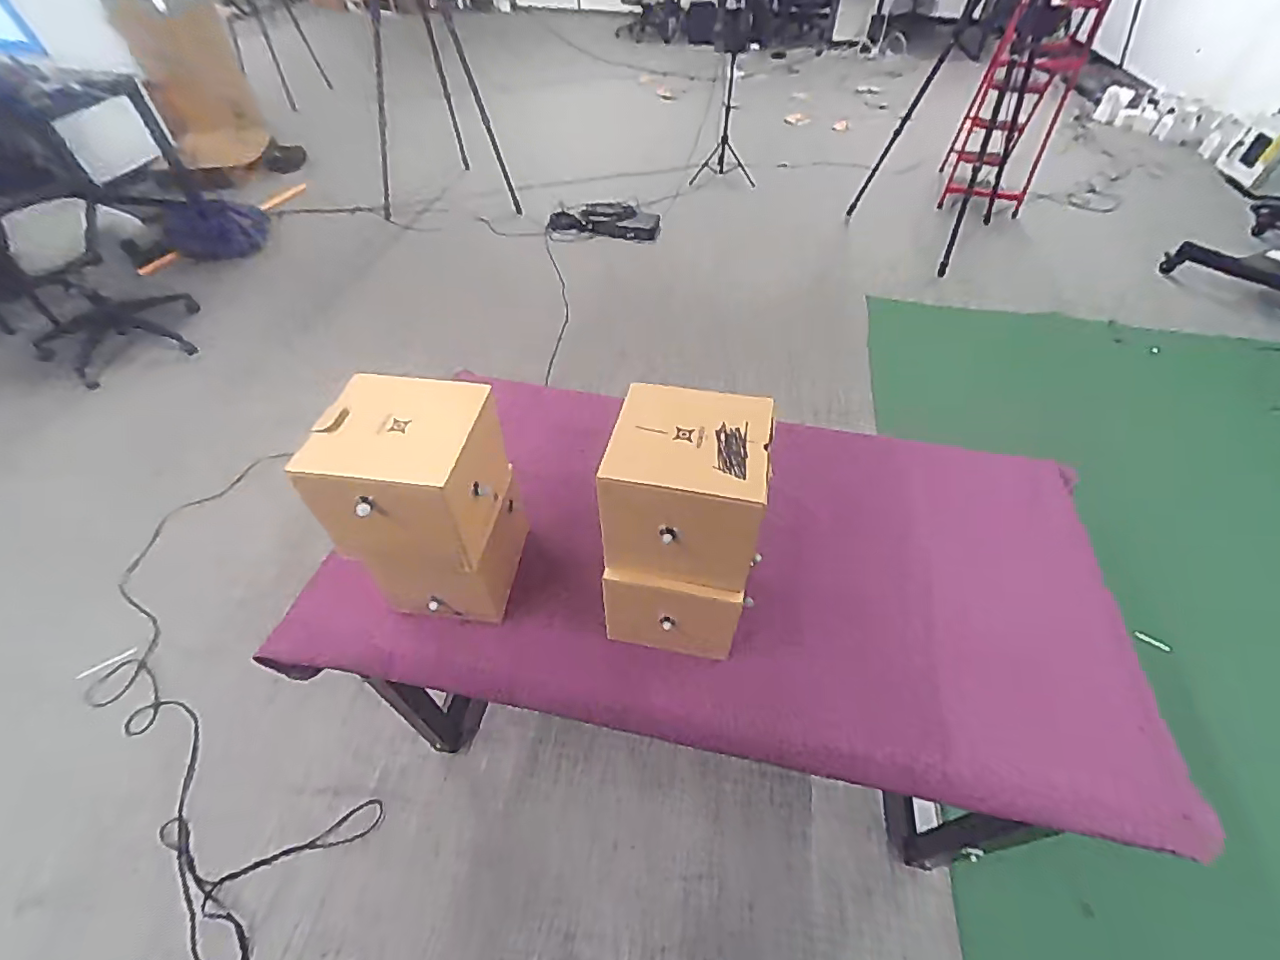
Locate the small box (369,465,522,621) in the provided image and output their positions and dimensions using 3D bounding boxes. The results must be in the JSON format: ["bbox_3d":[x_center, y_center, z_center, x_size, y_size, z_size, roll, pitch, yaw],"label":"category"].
[{"bbox_3d":[-0.280,0.085,0.805,0.168,0.176,0.179,6,49,3],"label":"small box"}]

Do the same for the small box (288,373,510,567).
[{"bbox_3d":[-0.274,-0.008,0.669,0.179,0.176,0.168,6,49,4],"label":"small box"}]

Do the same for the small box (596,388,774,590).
[{"bbox_3d":[0.056,0.014,0.661,0.179,0.176,0.168,10,48,9],"label":"small box"}]
